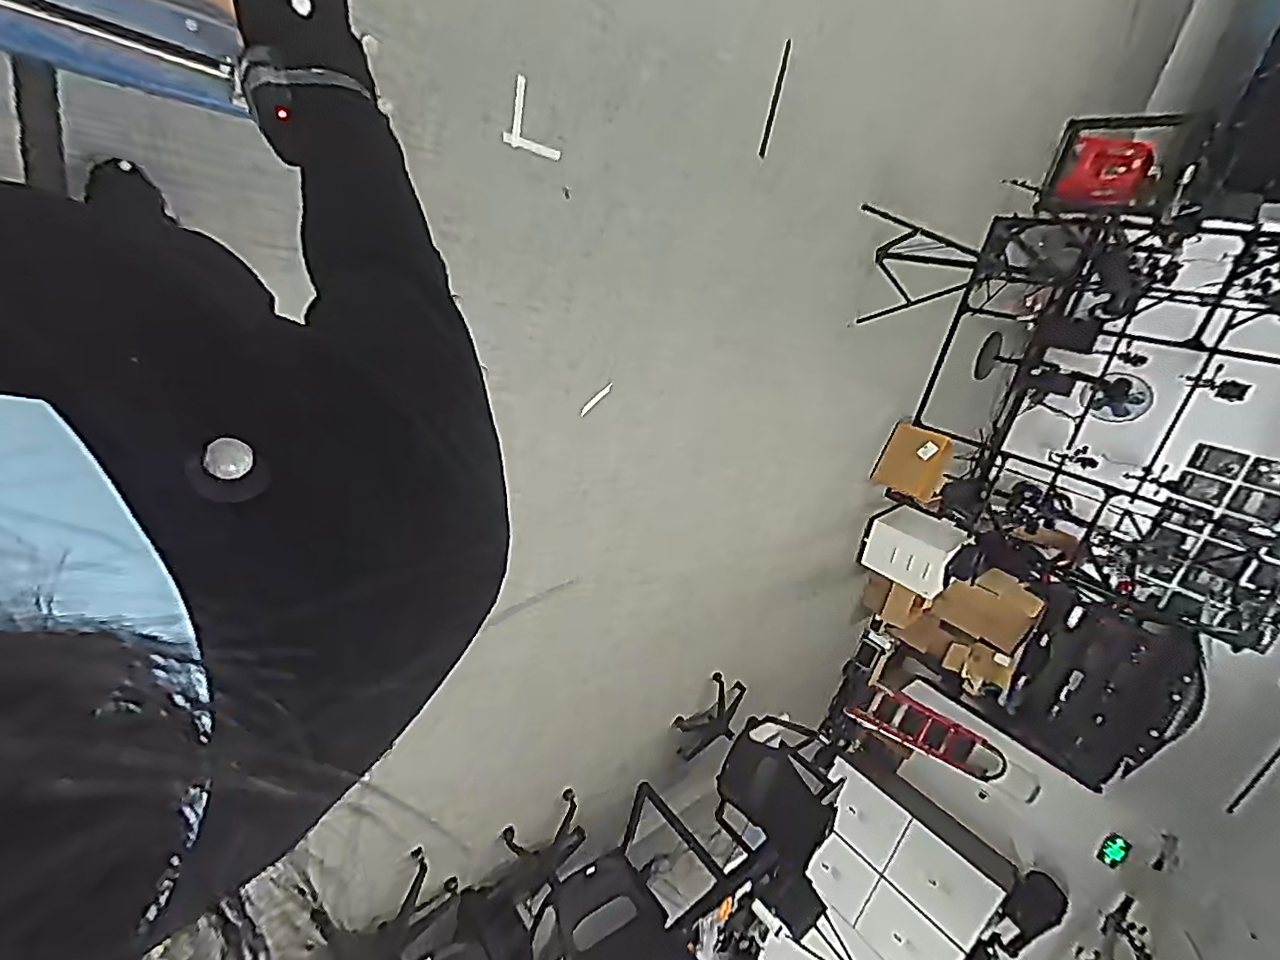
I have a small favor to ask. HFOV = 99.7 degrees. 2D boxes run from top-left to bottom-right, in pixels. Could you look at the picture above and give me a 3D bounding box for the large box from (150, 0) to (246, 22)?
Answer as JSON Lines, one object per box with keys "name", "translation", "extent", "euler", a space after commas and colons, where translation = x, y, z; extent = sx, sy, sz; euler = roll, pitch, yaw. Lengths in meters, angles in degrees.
{"name": "large box", "translation": [-0.711, -0.804, 0.611], "extent": [0.408, 0.320, 0.320], "euler": [-12, 121, -41]}
